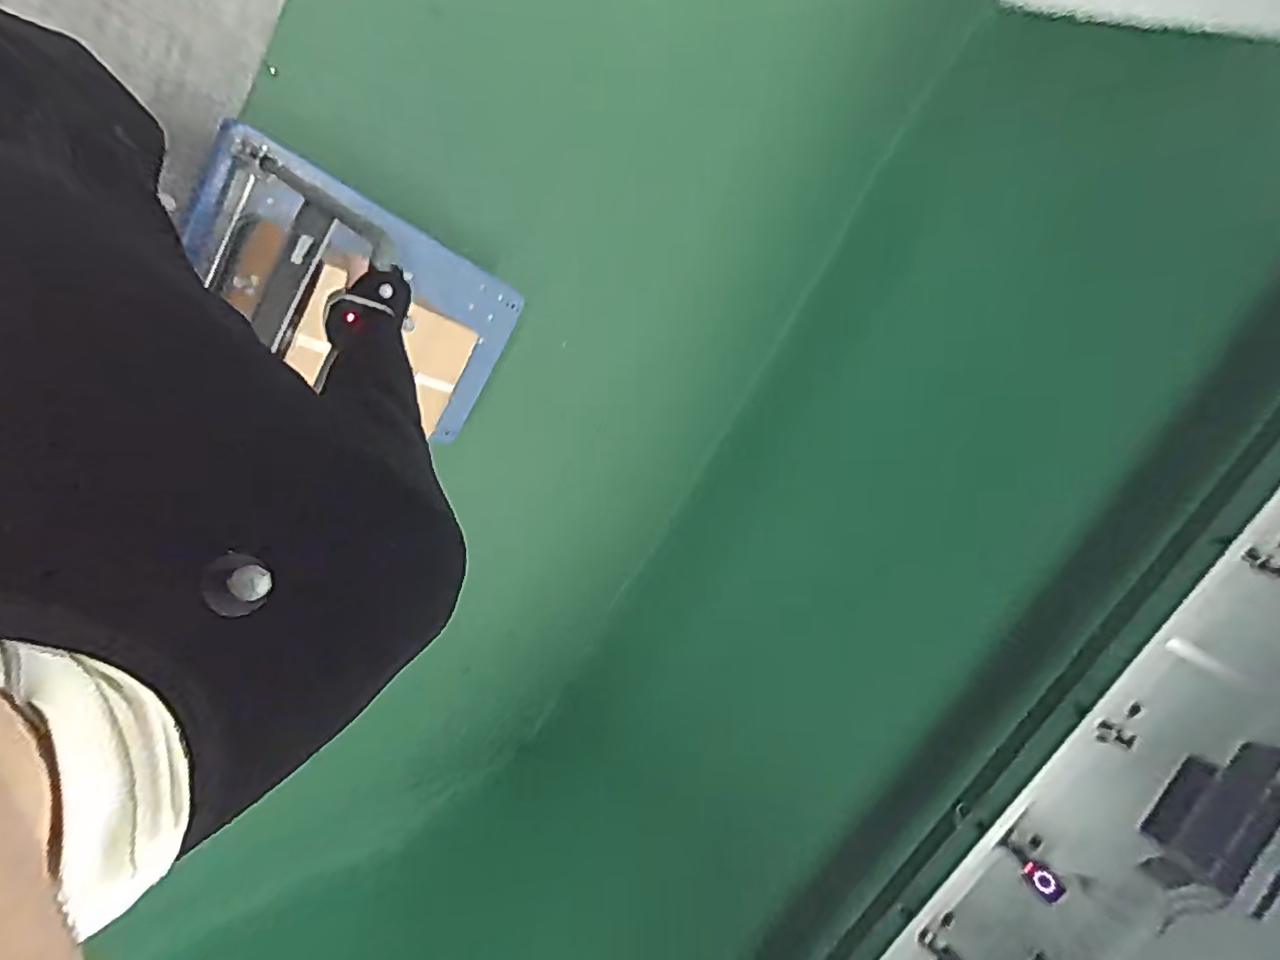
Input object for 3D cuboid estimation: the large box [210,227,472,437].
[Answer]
[{"bbox_3d":[-0.705,-0.335,1.300,0.320,0.320,0.408,-59,152,9],"label":"large box"}]
